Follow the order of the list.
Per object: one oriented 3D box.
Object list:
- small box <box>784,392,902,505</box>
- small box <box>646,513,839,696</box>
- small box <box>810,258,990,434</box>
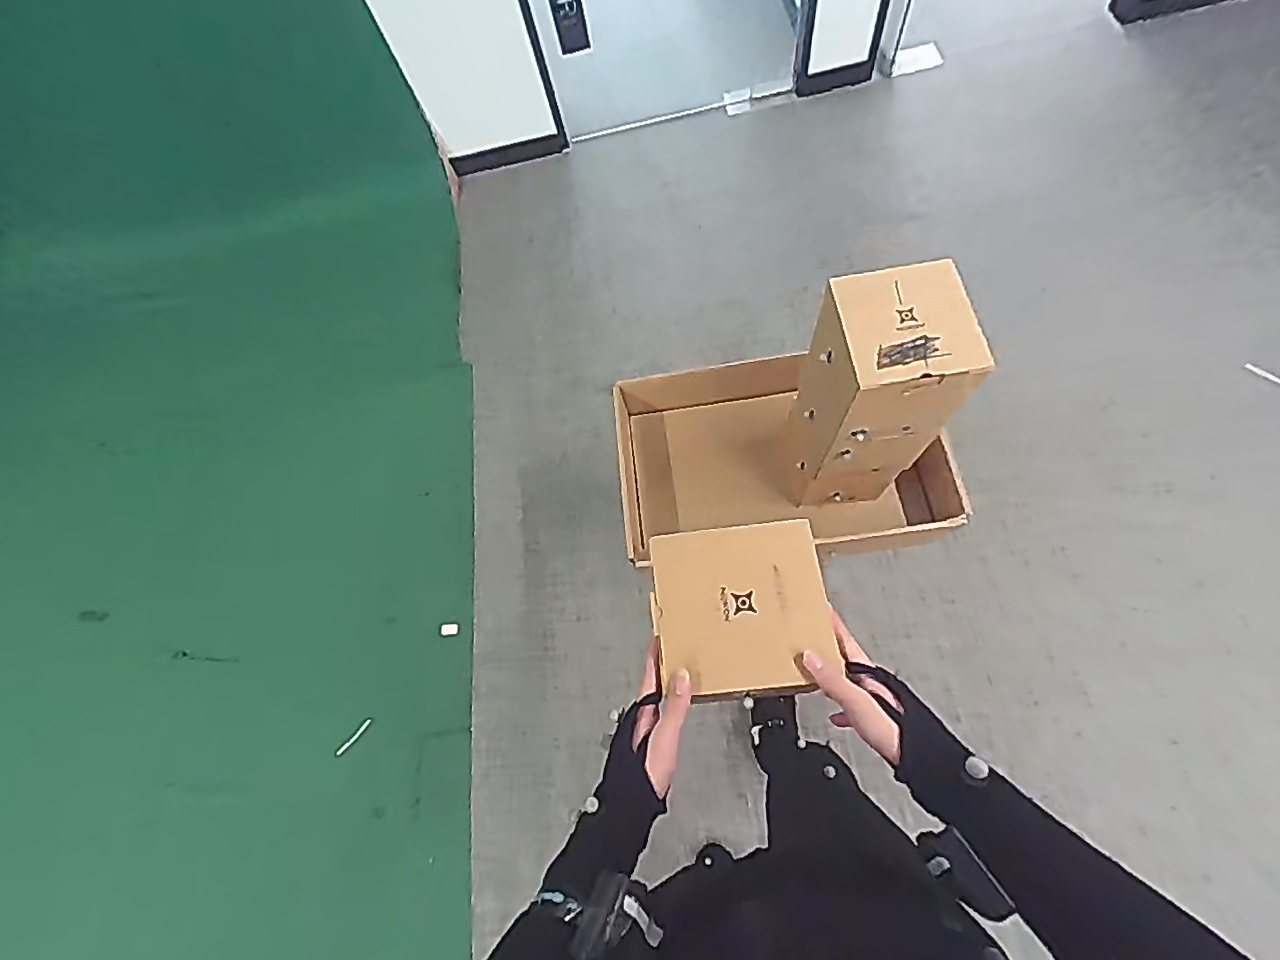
[{"bbox_3d":[0.390,-0.064,1.074,0.168,0.176,0.179,-7,69,5],"label":"small box"},{"bbox_3d":[0.106,0.151,0.621,0.179,0.176,0.168,-6,65,3],"label":"small box"},{"bbox_3d":[0.350,-0.177,0.768,0.168,0.176,0.179,-8,68,5],"label":"small box"}]
